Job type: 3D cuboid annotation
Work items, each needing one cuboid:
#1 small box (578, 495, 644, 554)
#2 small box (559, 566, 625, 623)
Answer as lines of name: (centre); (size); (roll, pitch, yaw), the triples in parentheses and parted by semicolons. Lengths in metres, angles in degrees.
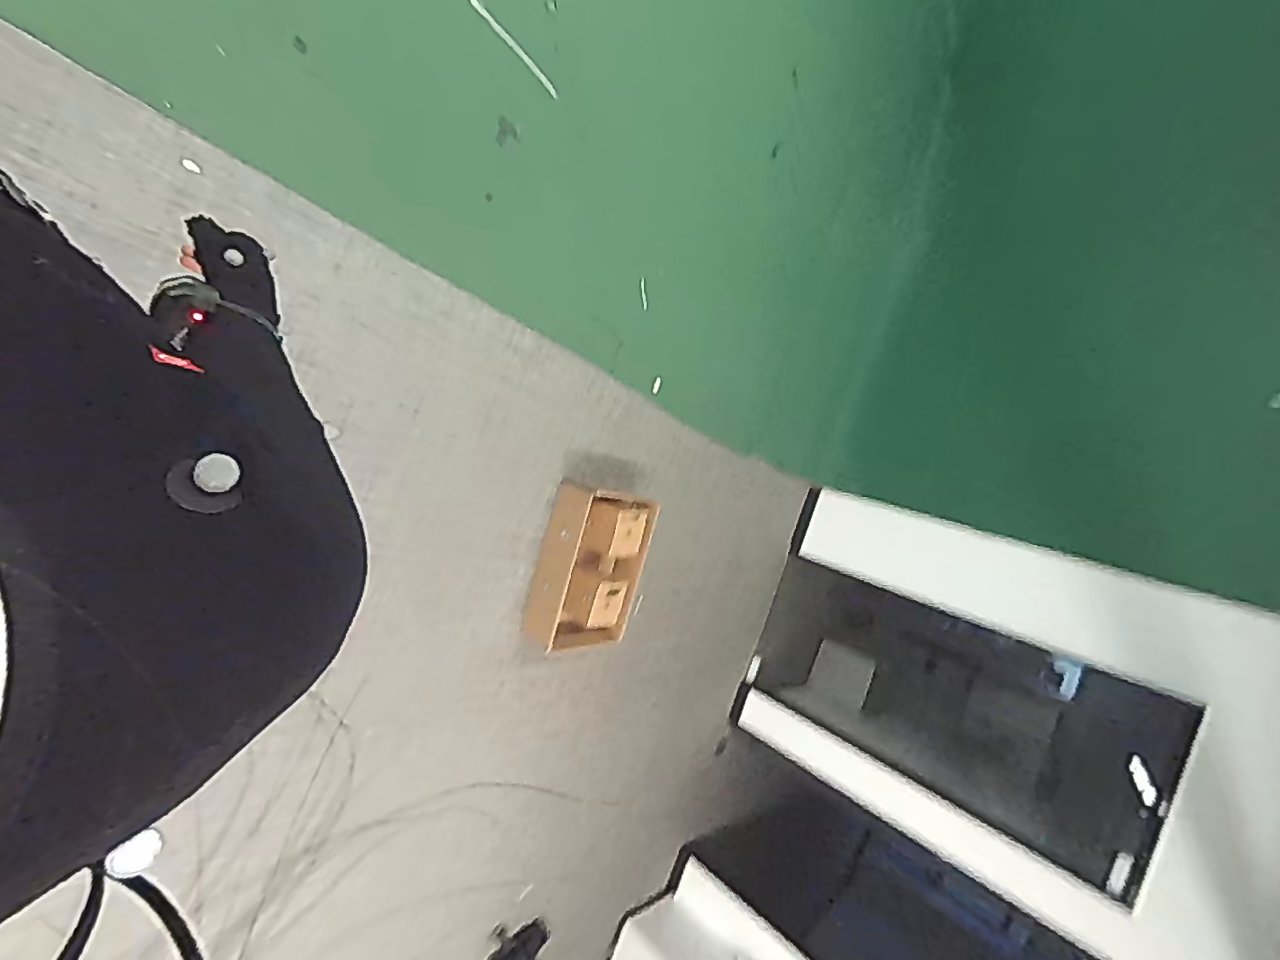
small box: (-0.115, 0.171, 2.084); (0.168, 0.176, 0.179); (6, 102, -51)
small box: (-0.190, 0.441, 2.106); (0.168, 0.176, 0.179); (13, 94, -51)
